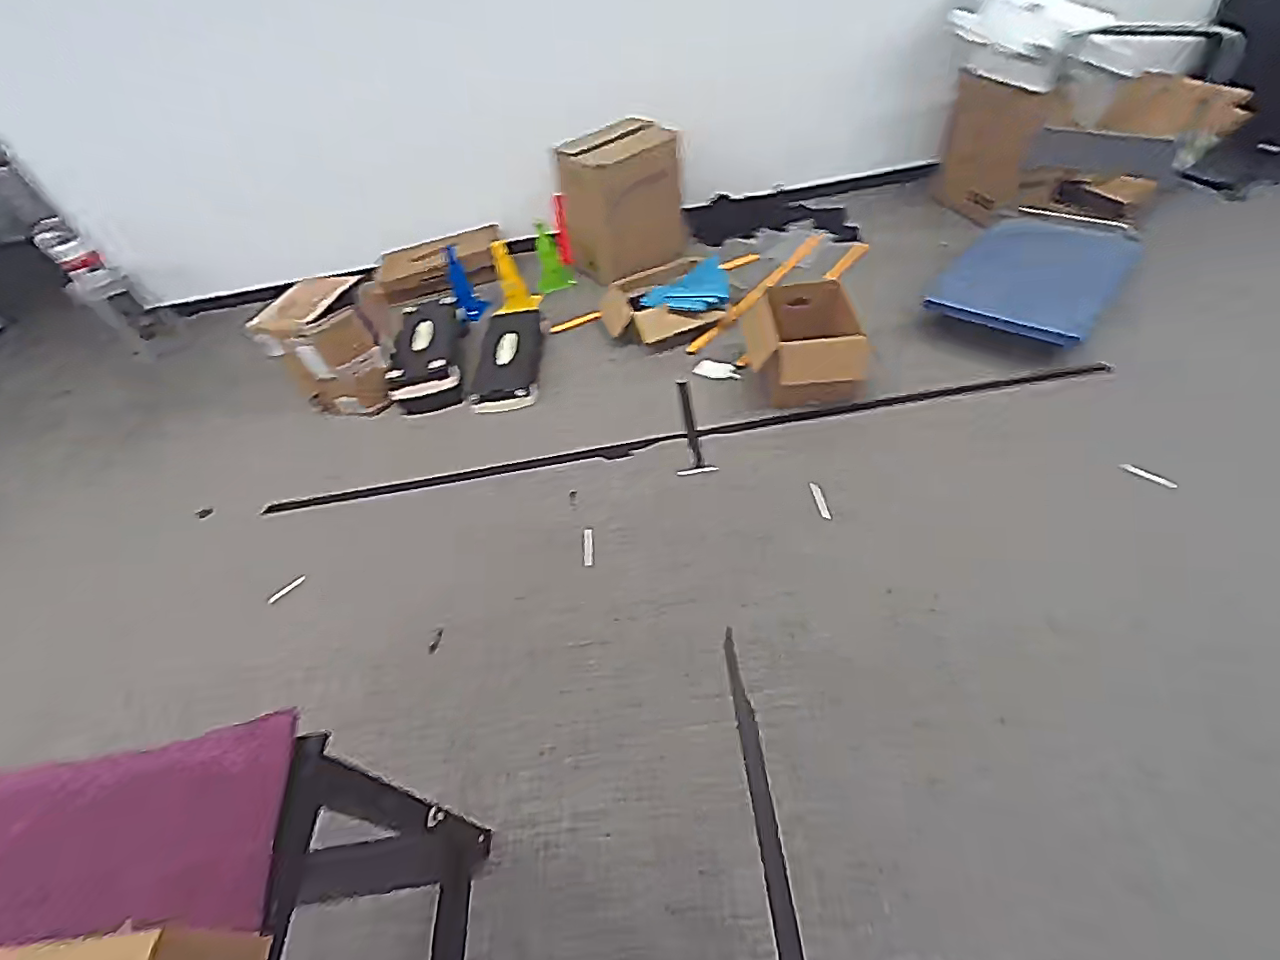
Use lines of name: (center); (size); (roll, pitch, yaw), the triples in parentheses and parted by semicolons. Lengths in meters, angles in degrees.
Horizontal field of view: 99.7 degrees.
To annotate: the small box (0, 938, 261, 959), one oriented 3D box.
small box: (-0.513, 0.548, 0.511); (0.179, 0.176, 0.168); (-9, 47, 3)
